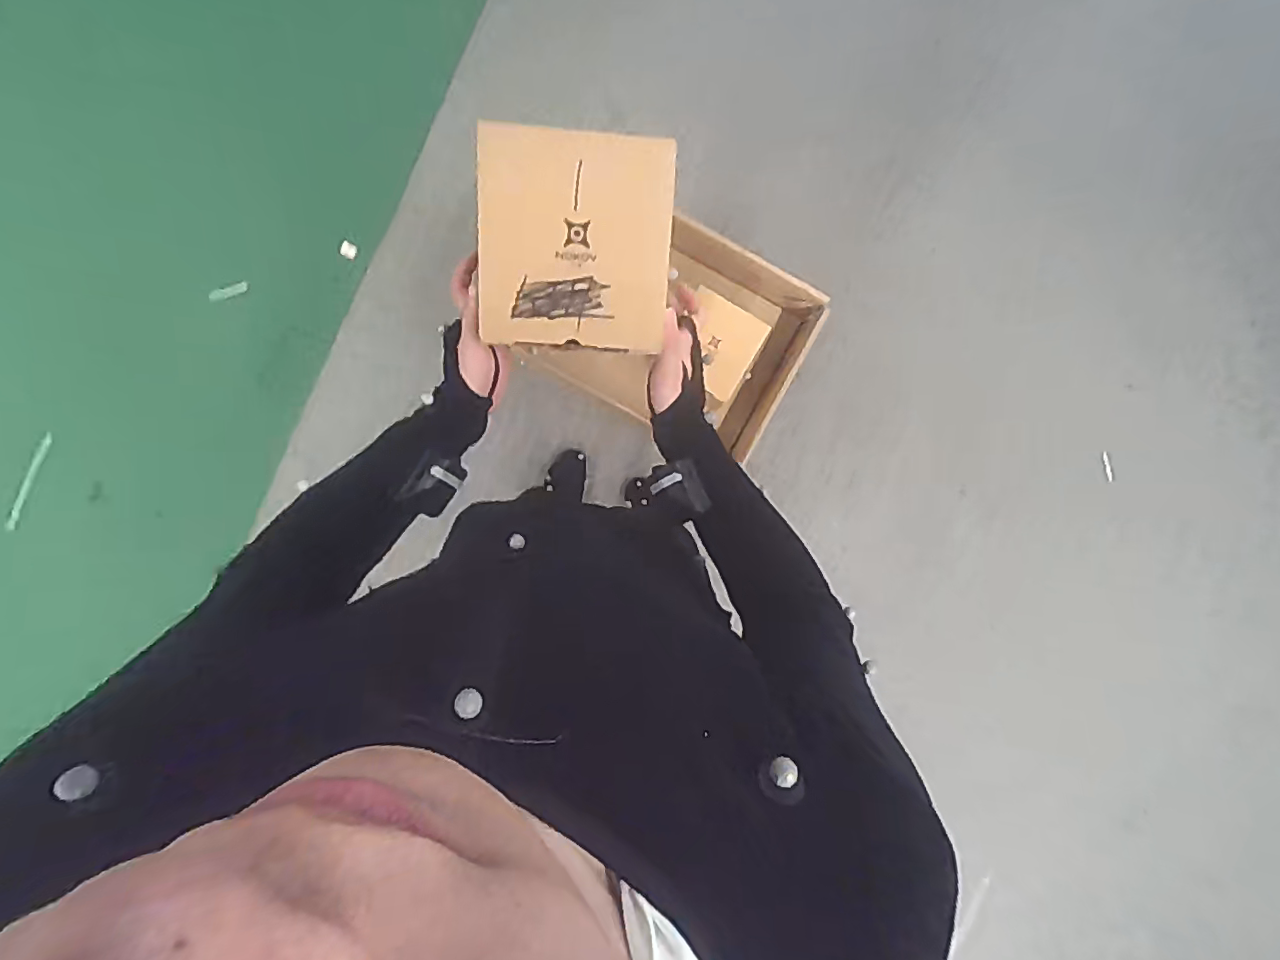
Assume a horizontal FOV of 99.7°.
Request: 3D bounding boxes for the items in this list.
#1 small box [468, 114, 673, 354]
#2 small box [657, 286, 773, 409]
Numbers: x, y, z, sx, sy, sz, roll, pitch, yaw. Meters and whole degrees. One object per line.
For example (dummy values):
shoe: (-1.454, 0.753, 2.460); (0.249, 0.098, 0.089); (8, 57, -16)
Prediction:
small box: (-0.065, -0.219, 0.528); (0.168, 0.176, 0.179); (2, 103, -5)
small box: (0.143, -0.264, 1.121); (0.168, 0.176, 0.179); (31, 92, -2)
